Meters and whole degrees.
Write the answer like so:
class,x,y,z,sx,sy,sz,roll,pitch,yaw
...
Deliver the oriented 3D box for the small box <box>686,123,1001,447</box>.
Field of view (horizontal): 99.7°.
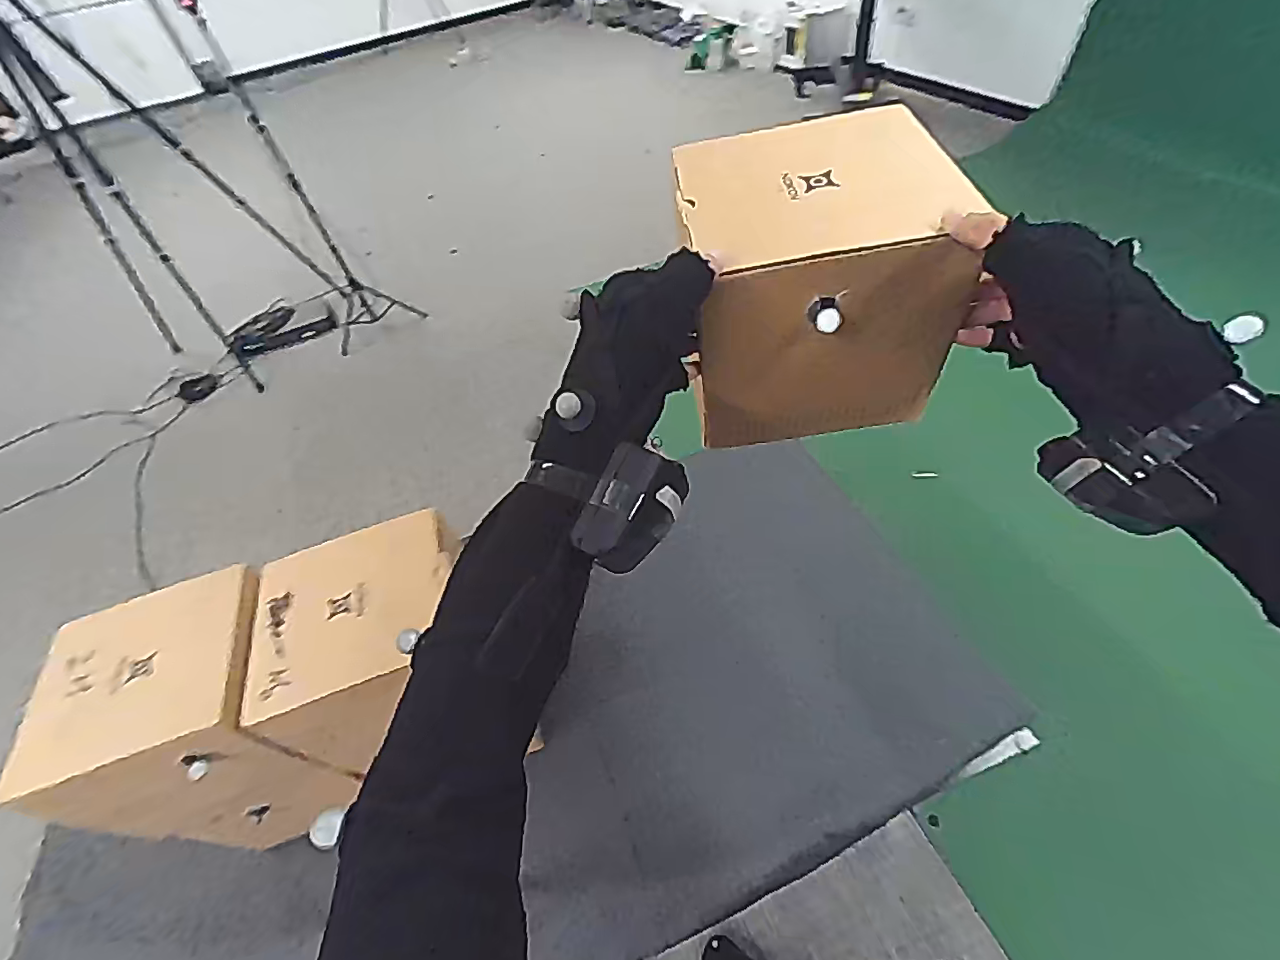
class,x,y,z,sx,sy,sz,roll,pitch,yaw
small box,0.135,-0.147,0.434,0.179,0.176,0.168,-8,54,5
